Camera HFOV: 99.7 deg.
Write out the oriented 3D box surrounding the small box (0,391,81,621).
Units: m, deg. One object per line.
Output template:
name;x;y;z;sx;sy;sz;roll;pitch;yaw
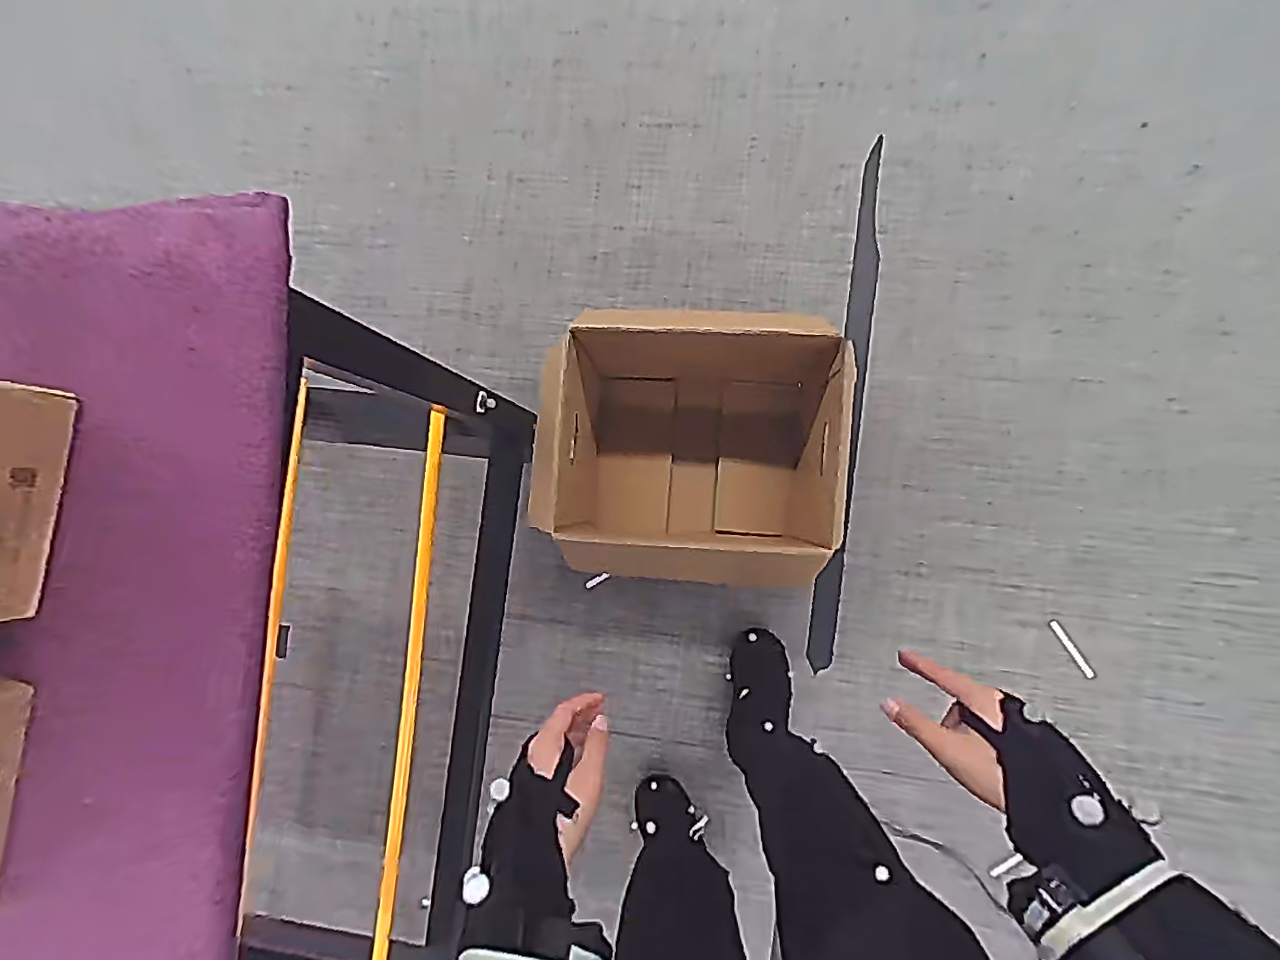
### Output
small box;-0.522;0.008;0.332;0.179;0.176;0.168;9;89;8
